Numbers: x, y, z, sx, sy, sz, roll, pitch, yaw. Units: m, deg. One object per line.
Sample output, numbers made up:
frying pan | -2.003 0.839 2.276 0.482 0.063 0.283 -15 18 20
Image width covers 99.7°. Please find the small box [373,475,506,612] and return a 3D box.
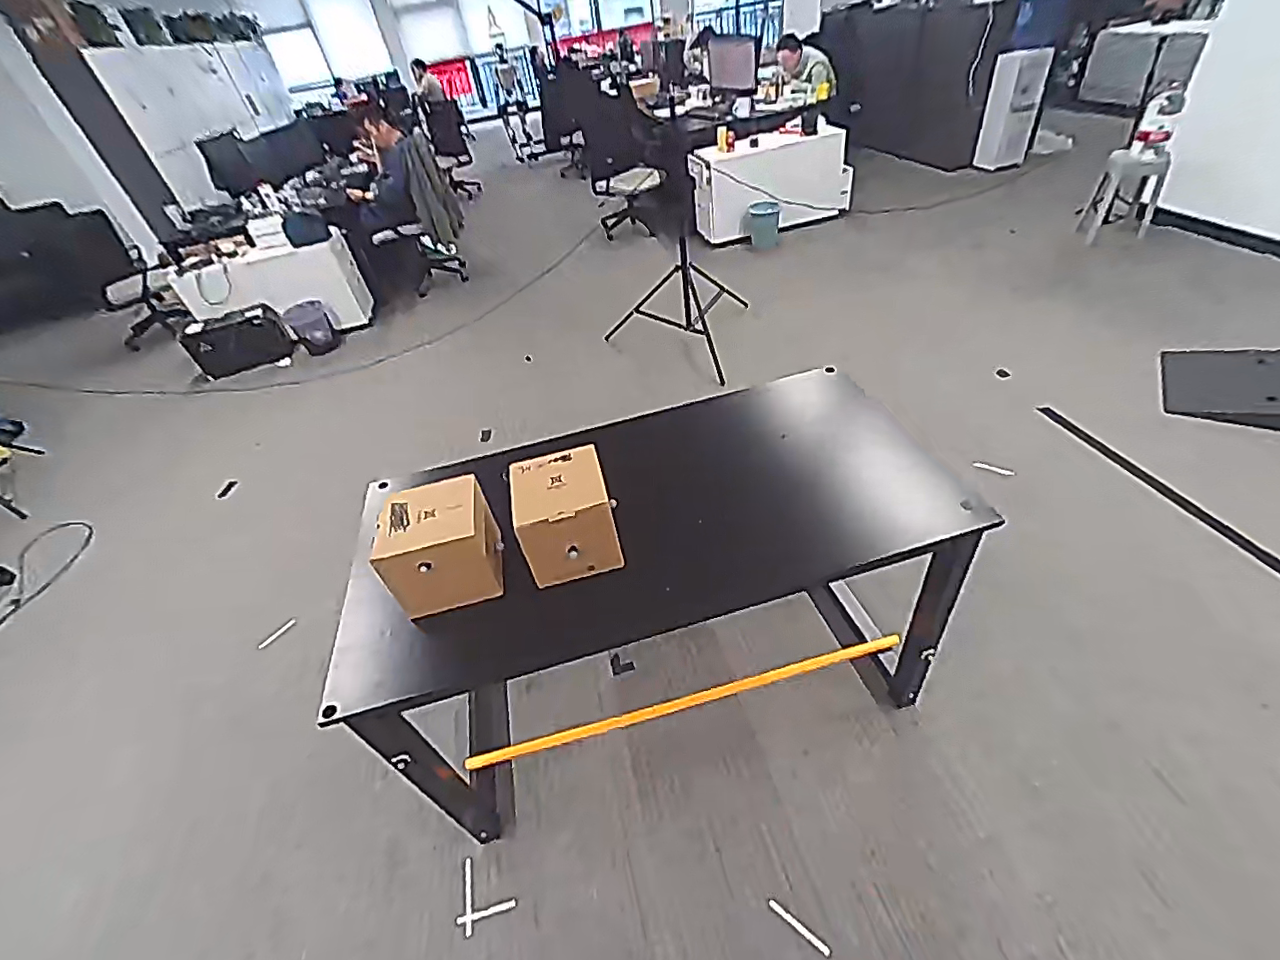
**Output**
small box | -0.361 0.121 1.005 0.179 0.176 0.168 -14 42 -5

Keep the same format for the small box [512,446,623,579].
small box | -0.135 0.068 1.020 0.168 0.176 0.179 -14 42 -4
